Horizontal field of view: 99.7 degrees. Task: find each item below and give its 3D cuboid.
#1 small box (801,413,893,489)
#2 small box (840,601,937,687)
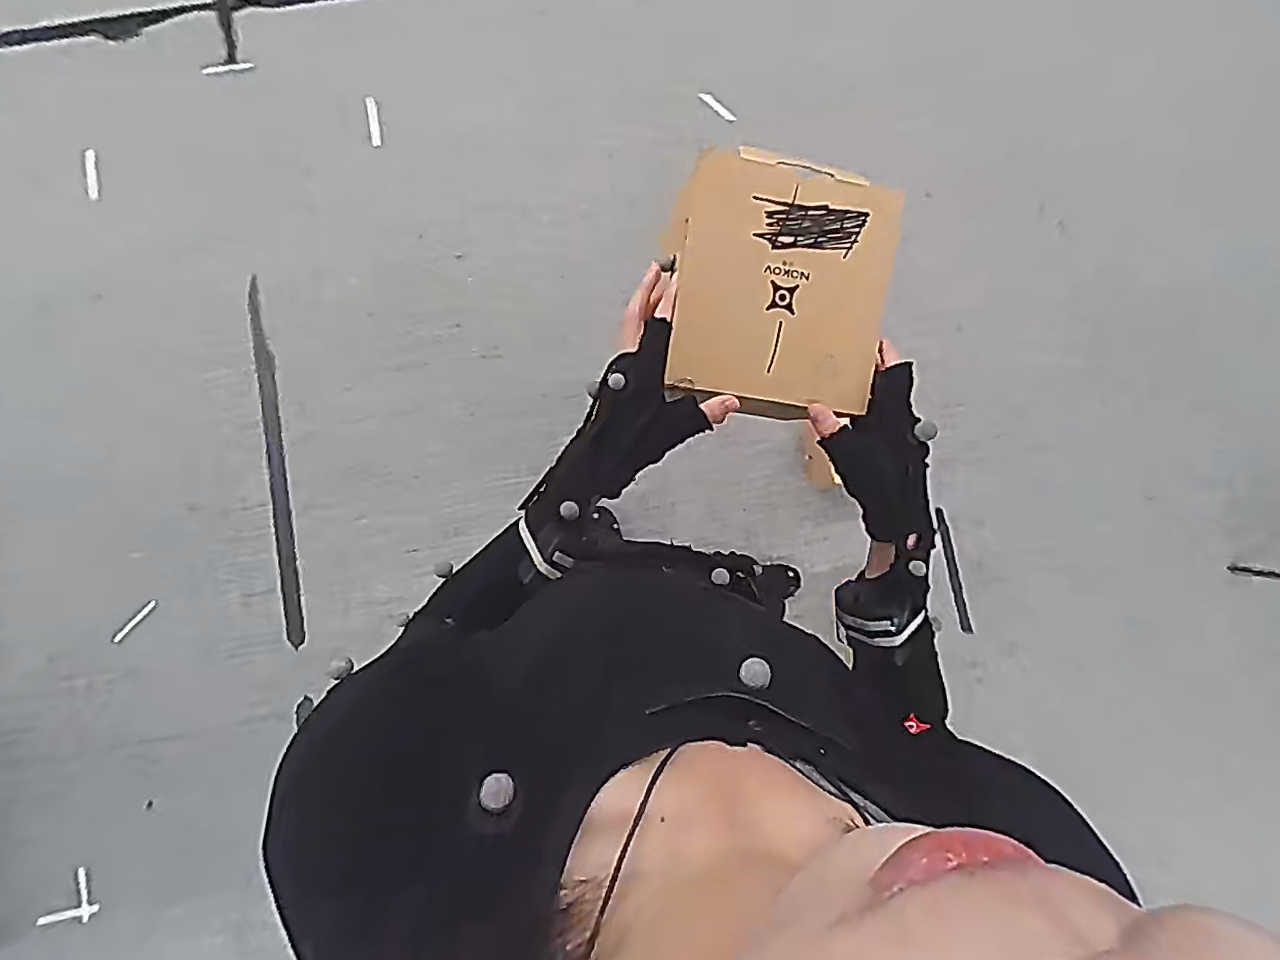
[{"bbox_3d":[0.561,-0.073,1.483,0.168,0.176,0.179,-11,86,-3],"label":"small box"},{"bbox_3d":[0.655,0.430,1.448,0.168,0.176,0.179,-11,87,-1],"label":"small box"}]
